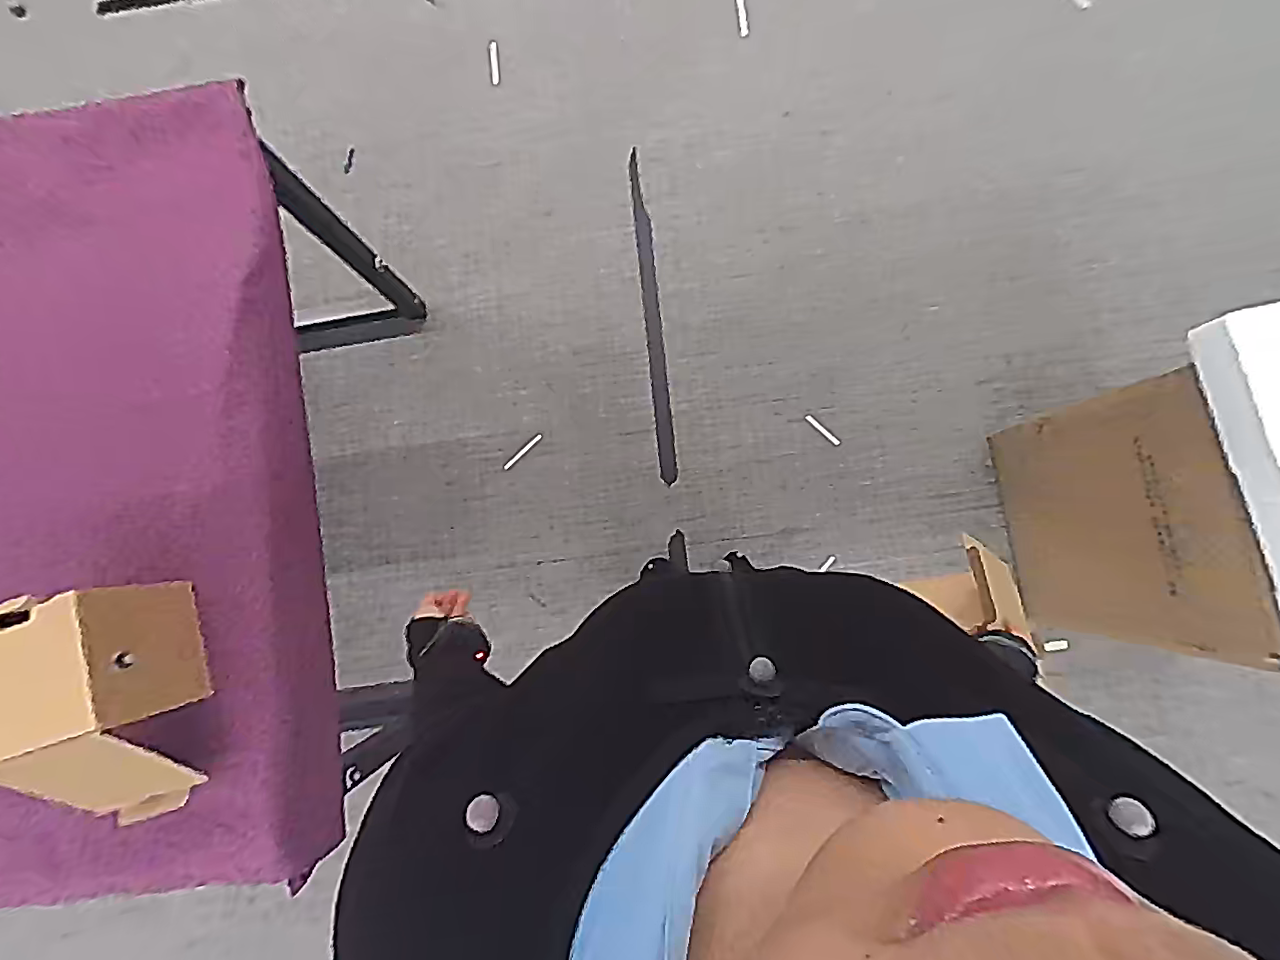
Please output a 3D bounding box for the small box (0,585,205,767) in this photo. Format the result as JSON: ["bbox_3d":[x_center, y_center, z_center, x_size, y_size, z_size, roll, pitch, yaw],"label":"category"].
[{"bbox_3d":[-0.731,0.250,0.721,0.168,0.176,0.179,-18,82,0],"label":"small box"}]
